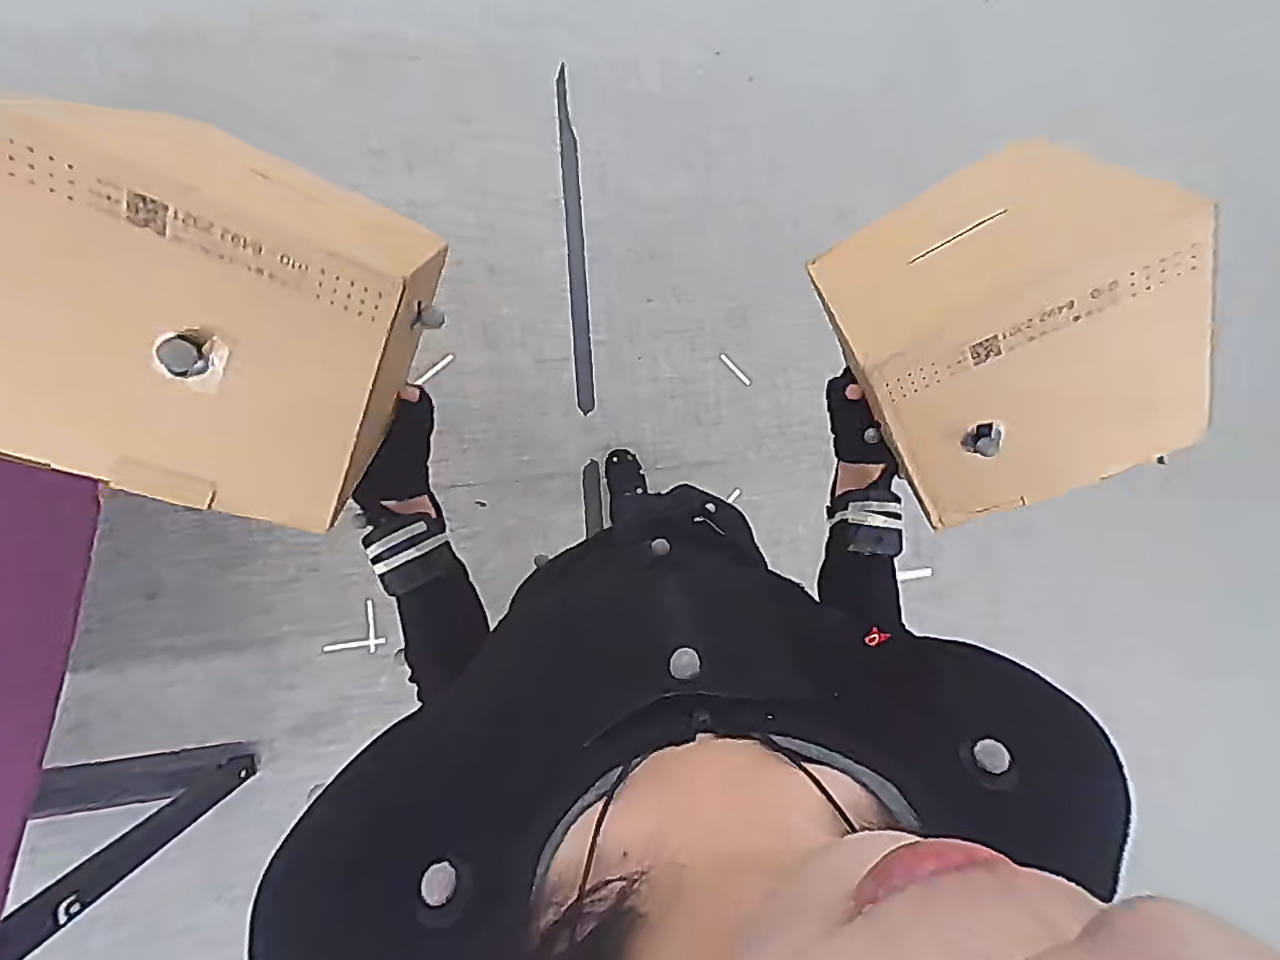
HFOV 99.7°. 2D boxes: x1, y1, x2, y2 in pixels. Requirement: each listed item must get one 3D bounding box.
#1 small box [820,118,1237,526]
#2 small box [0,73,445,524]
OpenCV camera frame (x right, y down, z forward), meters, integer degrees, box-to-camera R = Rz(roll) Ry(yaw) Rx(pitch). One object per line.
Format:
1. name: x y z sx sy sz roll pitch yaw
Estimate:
1. small box: 0.242 -0.106 0.371 0.168 0.179 0.176 -24 127 23
2. small box: -0.229 -0.105 0.323 0.168 0.179 0.176 19 113 -21
